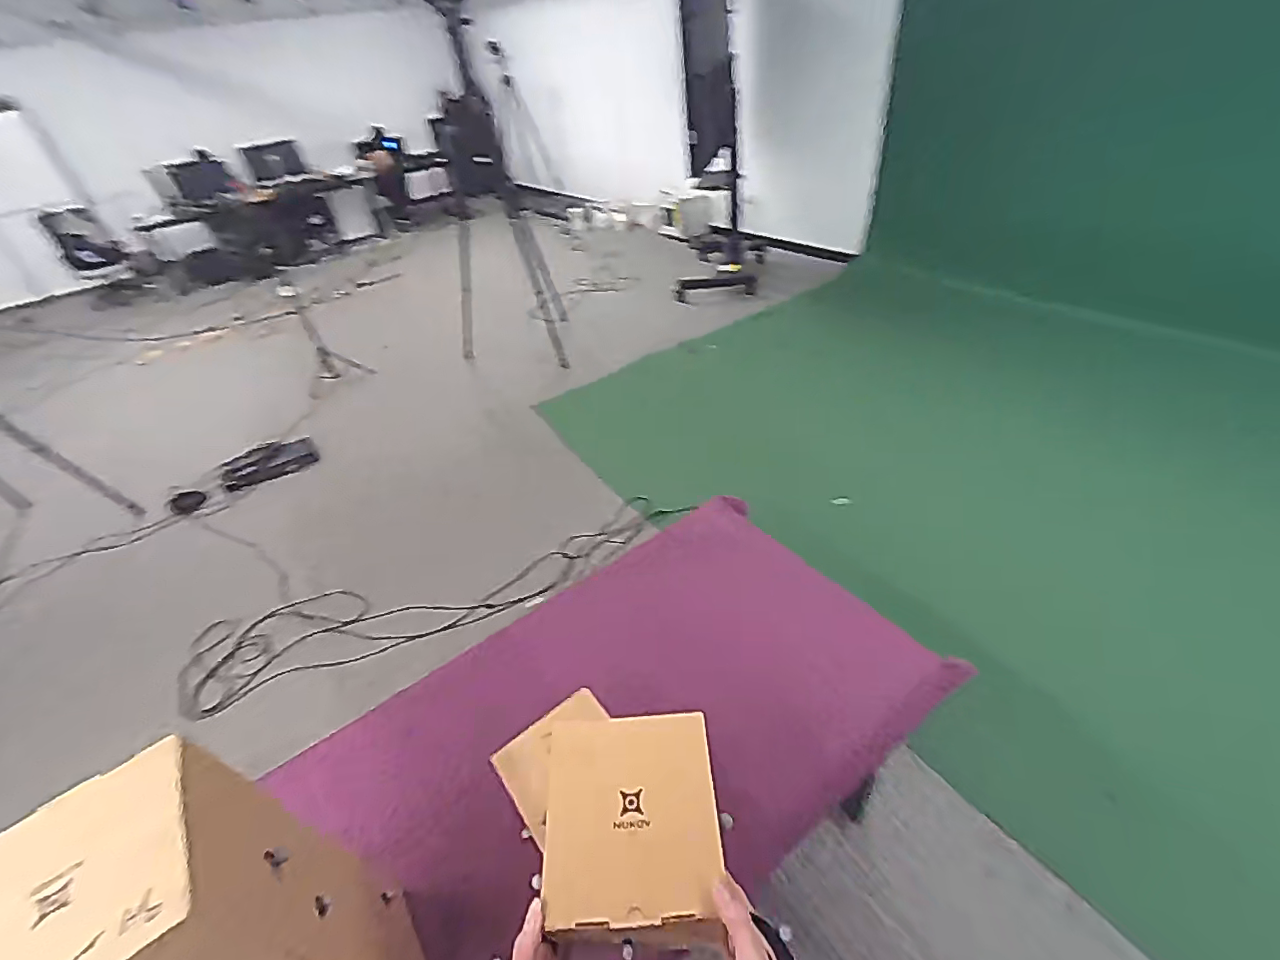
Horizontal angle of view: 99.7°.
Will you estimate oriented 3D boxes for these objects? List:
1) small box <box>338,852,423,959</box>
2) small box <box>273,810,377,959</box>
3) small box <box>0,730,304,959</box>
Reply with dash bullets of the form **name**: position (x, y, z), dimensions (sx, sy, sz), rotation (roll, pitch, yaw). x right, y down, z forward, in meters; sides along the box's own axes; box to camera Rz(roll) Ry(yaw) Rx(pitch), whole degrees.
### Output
- **small box**: position (-0.374, 0.610, 0.650), dimensions (0.168, 0.176, 0.179), rotation (-31, 44, -24)
- **small box**: position (-0.389, 0.488, 0.542), dimensions (0.168, 0.176, 0.179), rotation (-31, 42, -24)
- **small box**: position (-0.414, 0.358, 0.444), dimensions (0.168, 0.176, 0.179), rotation (-32, 43, -24)
